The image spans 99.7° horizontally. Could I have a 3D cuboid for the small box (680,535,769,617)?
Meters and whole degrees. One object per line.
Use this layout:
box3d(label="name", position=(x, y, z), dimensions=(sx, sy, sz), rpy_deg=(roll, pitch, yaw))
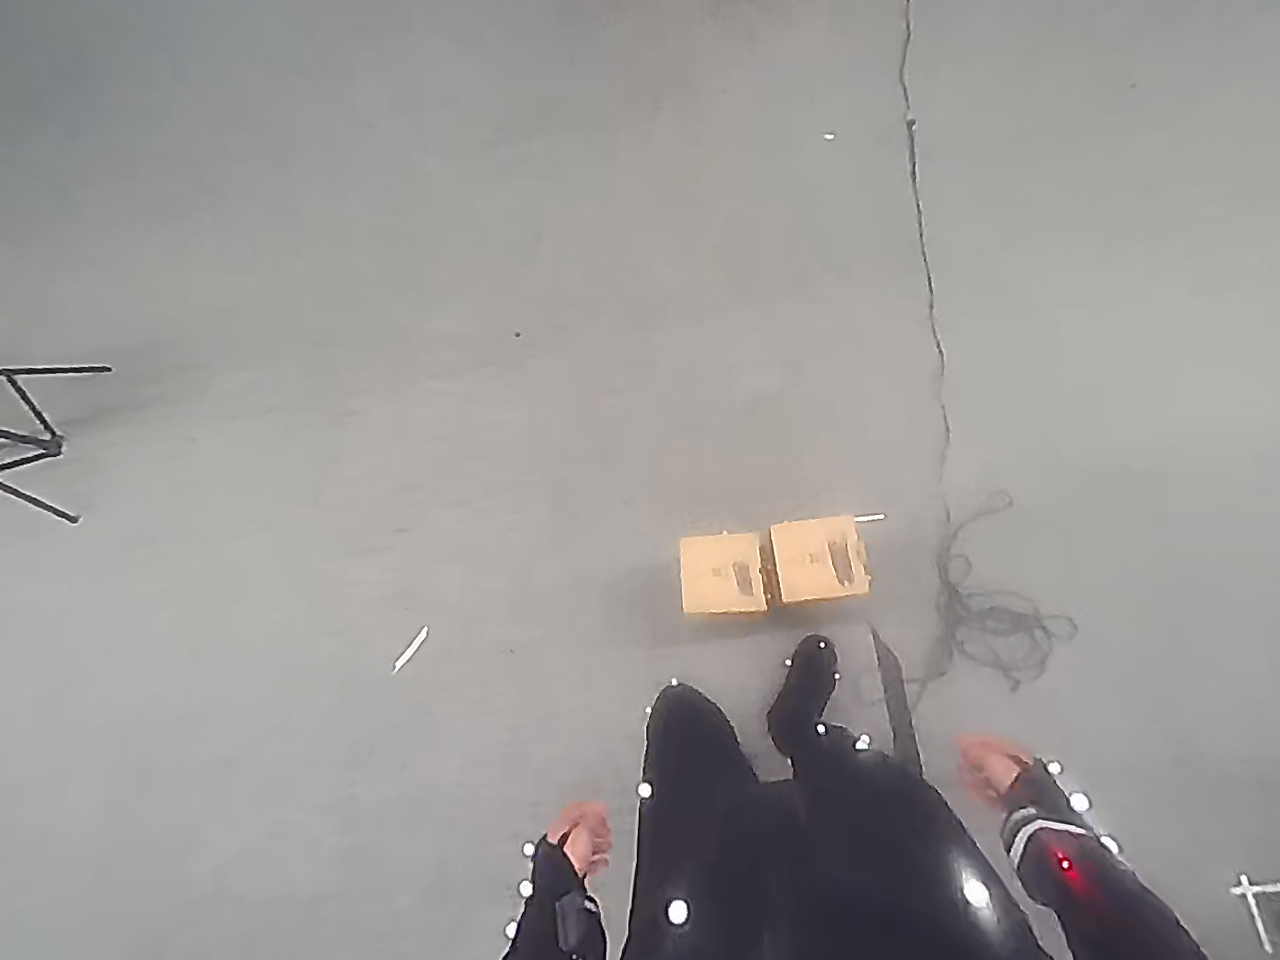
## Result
box3d(label="small box", position=(0.193, 0.218, 1.215), dimensions=(0.179, 0.176, 0.168), rpy_deg=(-6, 75, 13))
